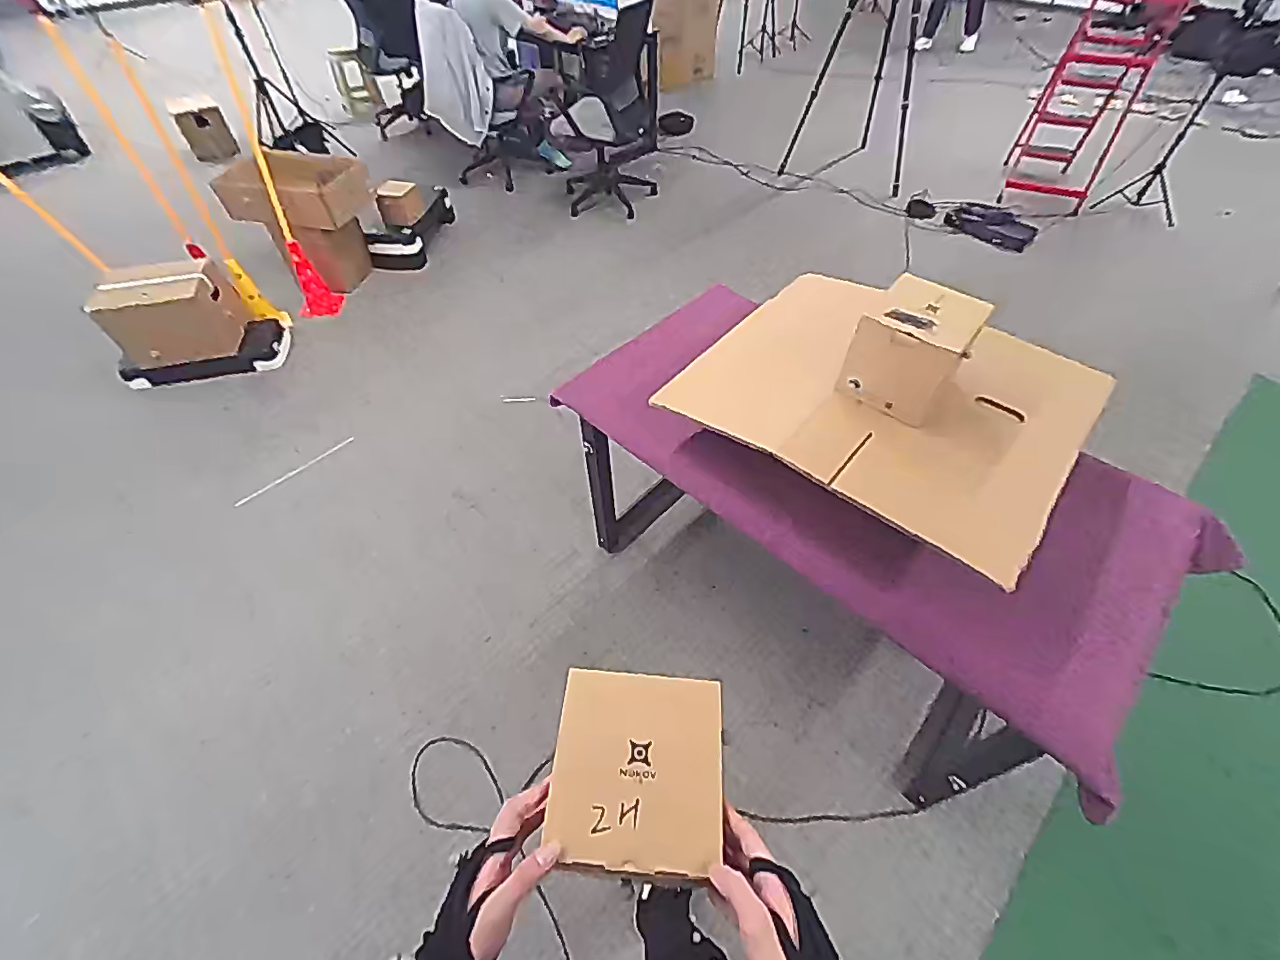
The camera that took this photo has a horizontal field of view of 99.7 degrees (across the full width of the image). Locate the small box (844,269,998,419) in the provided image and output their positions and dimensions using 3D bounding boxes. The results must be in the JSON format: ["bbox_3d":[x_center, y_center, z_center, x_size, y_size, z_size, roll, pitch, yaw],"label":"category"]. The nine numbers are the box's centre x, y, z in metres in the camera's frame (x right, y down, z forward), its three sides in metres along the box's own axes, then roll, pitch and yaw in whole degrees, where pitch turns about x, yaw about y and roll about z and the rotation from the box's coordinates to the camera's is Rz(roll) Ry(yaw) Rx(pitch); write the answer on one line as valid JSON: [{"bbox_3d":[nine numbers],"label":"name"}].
[{"bbox_3d":[0.490,-0.241,0.969,0.168,0.176,0.179,34,59,24],"label":"small box"}]
